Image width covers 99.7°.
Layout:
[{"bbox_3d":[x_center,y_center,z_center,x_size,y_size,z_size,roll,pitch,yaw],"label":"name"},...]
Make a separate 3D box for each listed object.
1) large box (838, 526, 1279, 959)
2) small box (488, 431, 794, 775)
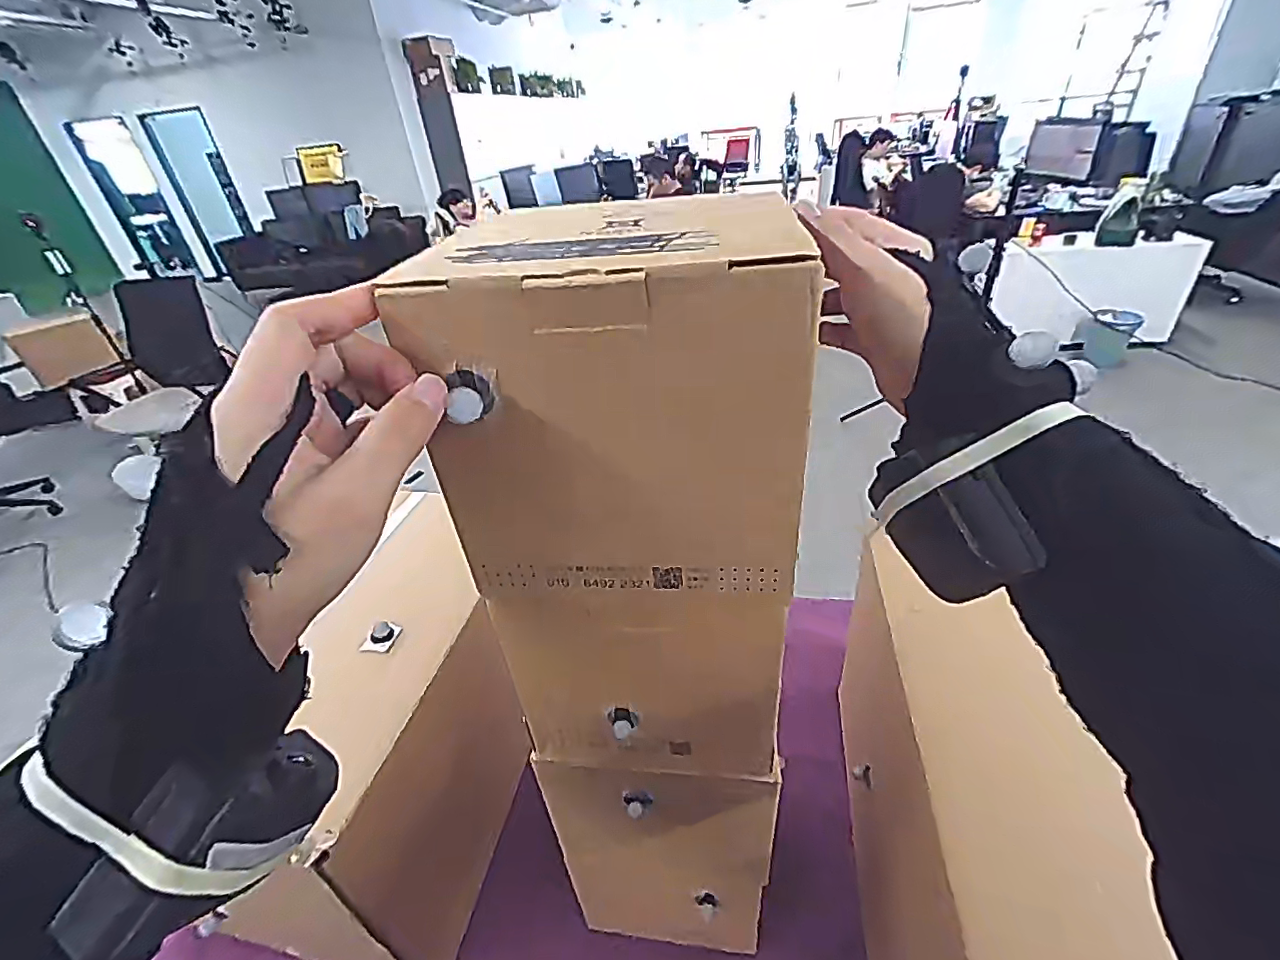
[{"bbox_3d":[0.374,0.289,0.488,0.320,0.320,0.408,2,33,12],"label":"large box"},{"bbox_3d":[0.012,0.079,0.392,0.168,0.176,0.179,0,35,8],"label":"small box"}]
